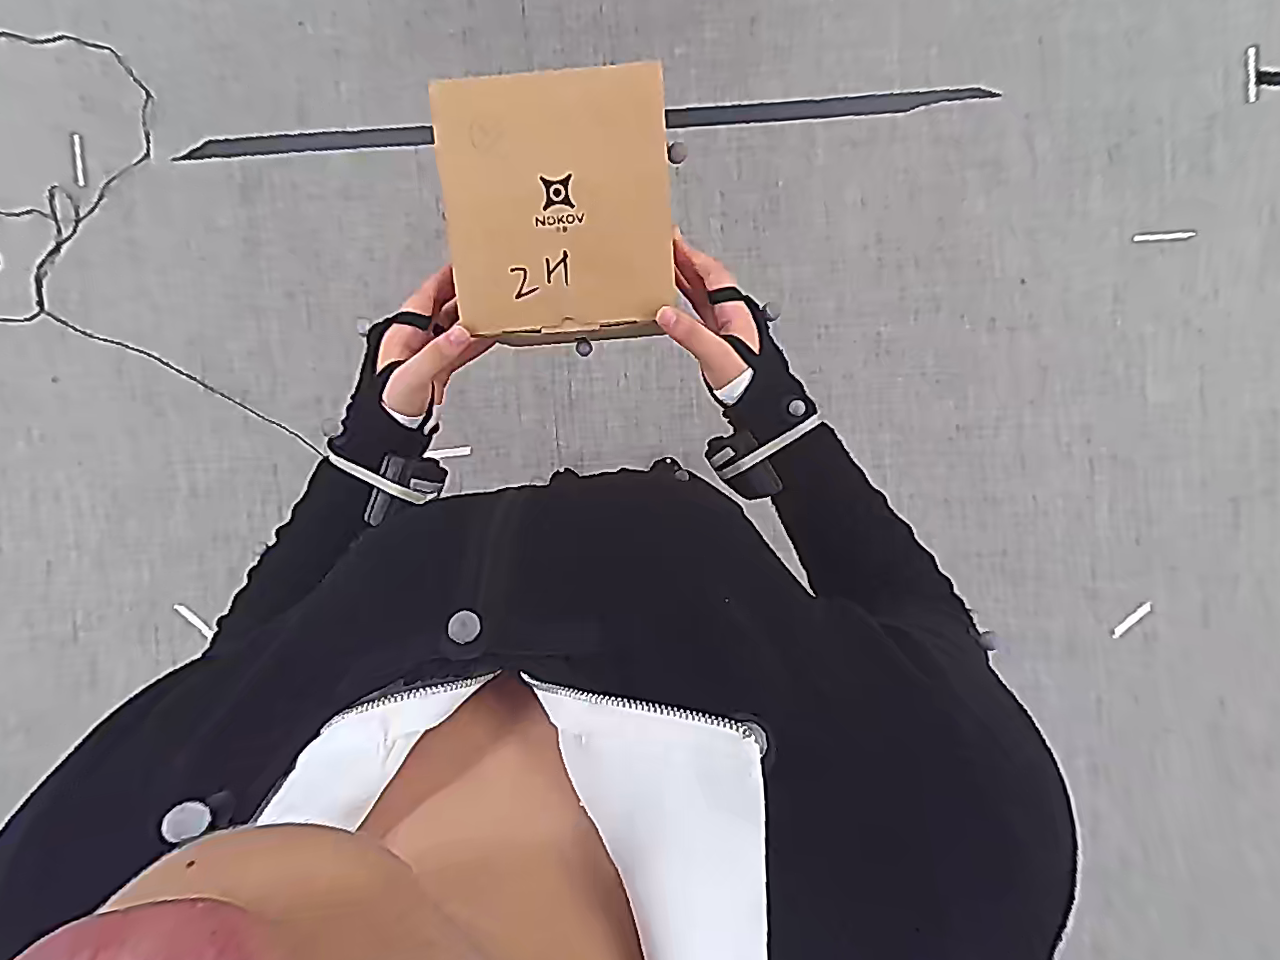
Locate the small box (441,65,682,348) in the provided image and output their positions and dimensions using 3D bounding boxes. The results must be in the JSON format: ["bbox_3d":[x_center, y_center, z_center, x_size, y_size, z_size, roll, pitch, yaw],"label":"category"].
[{"bbox_3d":[-0.055,-0.214,0.471,0.168,0.176,0.179,-4,101,1],"label":"small box"}]

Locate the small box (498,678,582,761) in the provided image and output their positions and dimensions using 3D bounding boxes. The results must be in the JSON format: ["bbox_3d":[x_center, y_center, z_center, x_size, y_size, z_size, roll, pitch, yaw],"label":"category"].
[{"bbox_3d":[-0.243,0.606,1.345,0.168,0.176,0.179,-6,93,2],"label":"small box"}]

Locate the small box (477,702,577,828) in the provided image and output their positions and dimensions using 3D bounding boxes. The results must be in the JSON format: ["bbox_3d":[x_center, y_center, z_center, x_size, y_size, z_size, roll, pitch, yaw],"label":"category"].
[{"bbox_3d":[-0.238,0.615,1.182,0.168,0.176,0.179,-9,93,1],"label":"small box"}]
